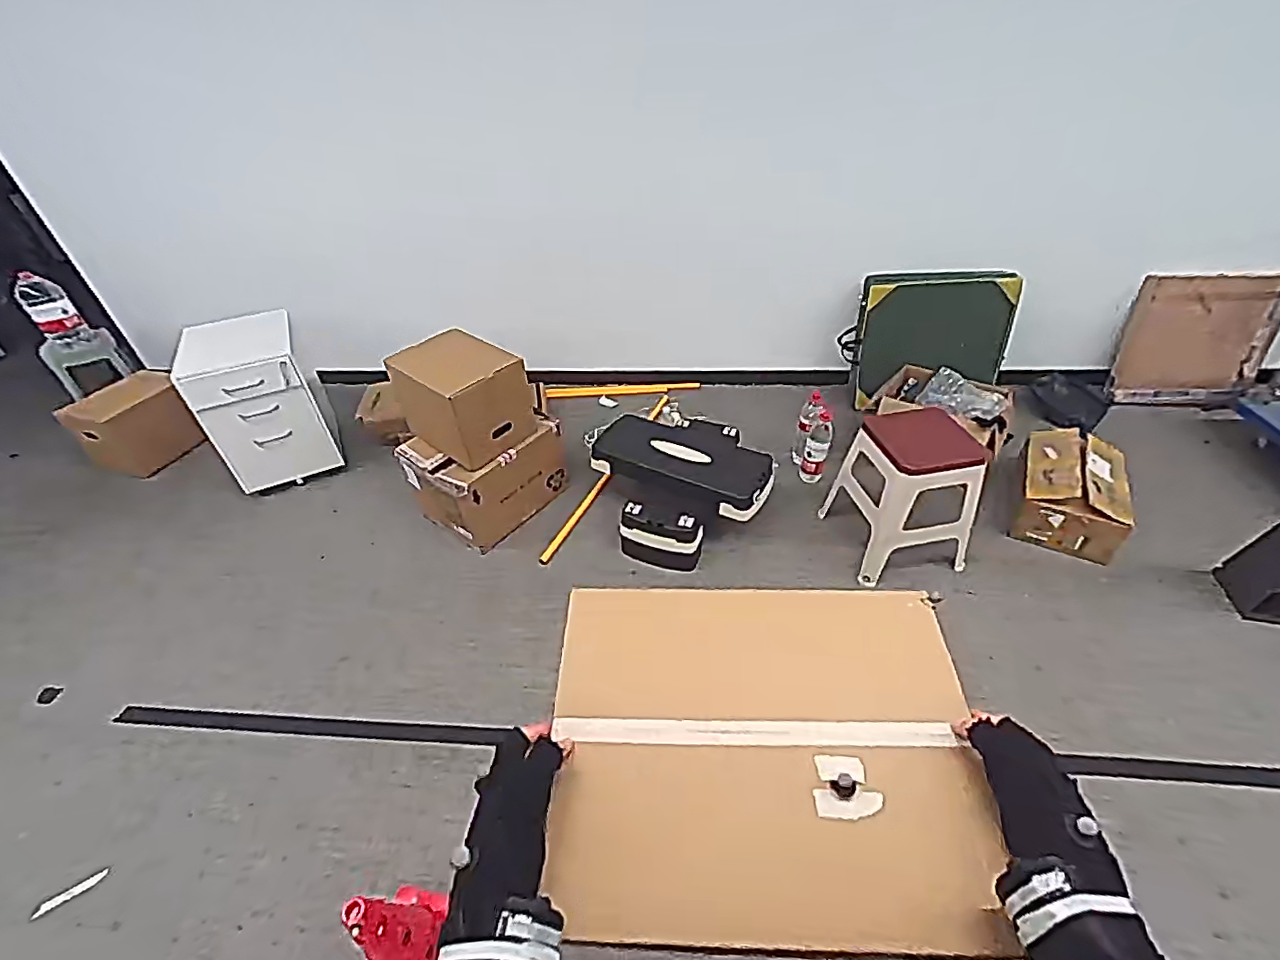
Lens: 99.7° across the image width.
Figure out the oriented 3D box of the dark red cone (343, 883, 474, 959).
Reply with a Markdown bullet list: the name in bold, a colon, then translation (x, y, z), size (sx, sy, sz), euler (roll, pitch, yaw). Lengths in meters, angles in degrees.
- **dark red cone**: translation (-0.475, 0.851, 1.026), size (0.201, 0.394, 0.202), euler (6, 41, 10)

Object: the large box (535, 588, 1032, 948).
- **large box**: translation (0.118, 0.340, 0.638), size (0.408, 0.320, 0.320), euler (0, 49, 3)
